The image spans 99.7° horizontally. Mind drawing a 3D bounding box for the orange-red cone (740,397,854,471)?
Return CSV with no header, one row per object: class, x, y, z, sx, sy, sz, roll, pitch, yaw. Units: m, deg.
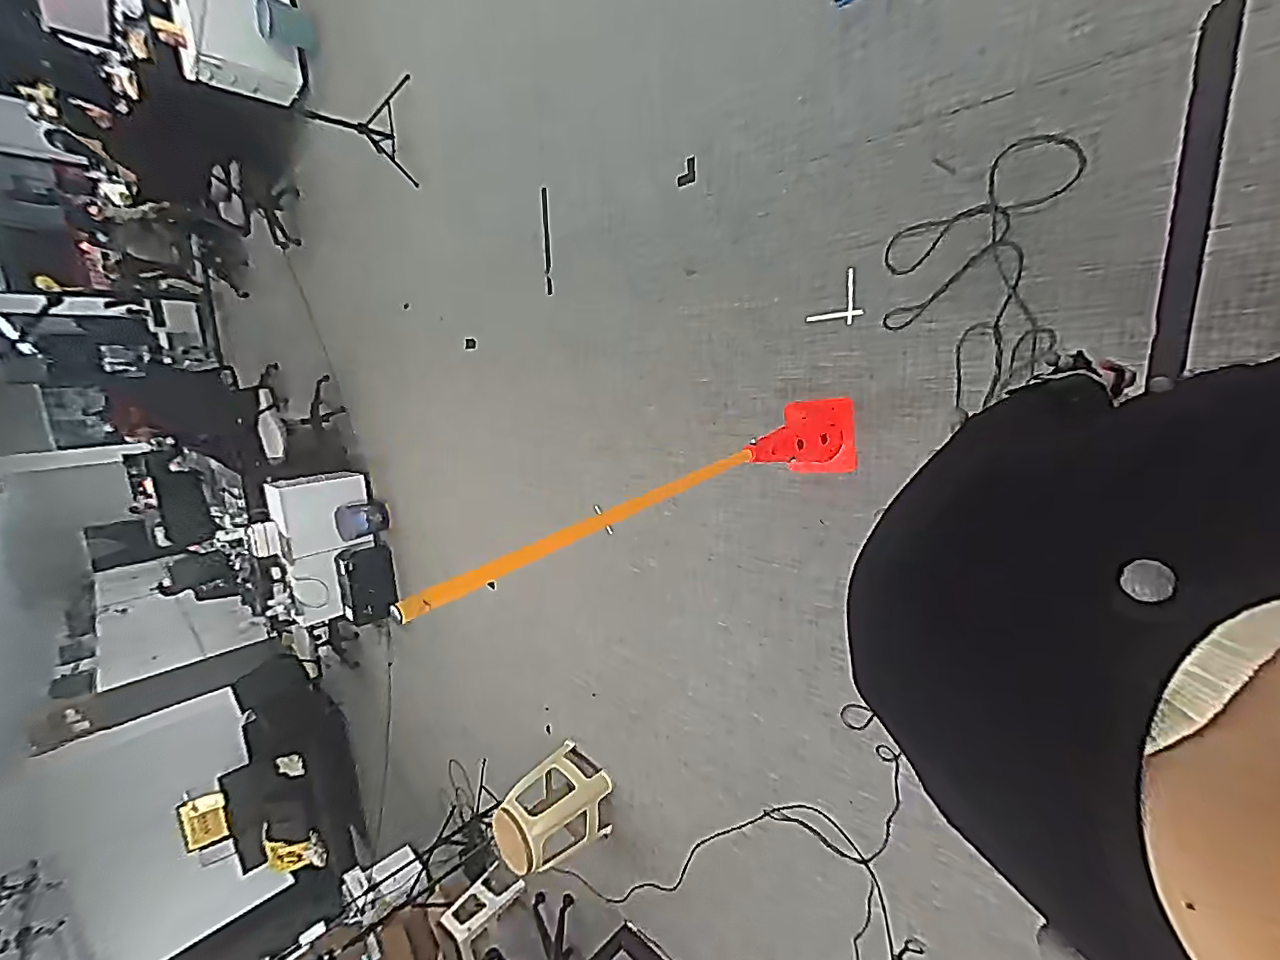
orange-red cone,0.367,-0.091,1.357,0.199,0.360,0.198,1,102,44
